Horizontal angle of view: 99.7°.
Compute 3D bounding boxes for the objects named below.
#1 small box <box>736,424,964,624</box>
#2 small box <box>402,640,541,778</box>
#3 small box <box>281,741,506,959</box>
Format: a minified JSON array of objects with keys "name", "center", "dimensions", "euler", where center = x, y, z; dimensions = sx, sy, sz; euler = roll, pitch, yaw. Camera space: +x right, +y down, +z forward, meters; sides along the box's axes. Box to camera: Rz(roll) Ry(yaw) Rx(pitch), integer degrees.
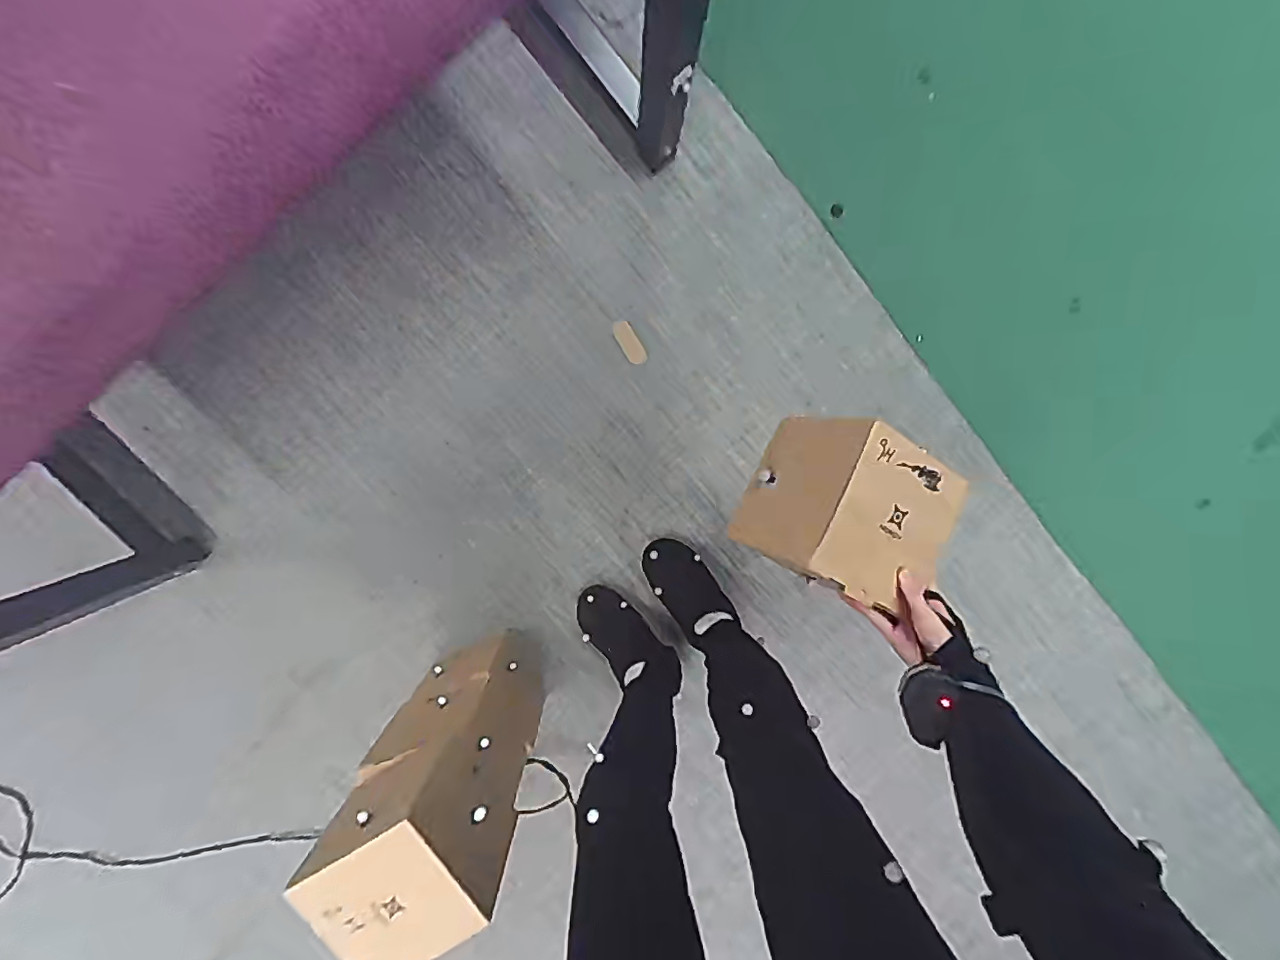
[{"name":"small box","center":[0.245,0.044,0.670],"dimensions":[0.168,0.176,0.179],"euler":[30,86,-21]},{"name":"small box","center":[-0.301,0.423,1.007],"dimensions":[0.168,0.176,0.179],"euler":[-24,100,2]},{"name":"small box","center":[-0.288,0.475,0.685],"dimensions":[0.179,0.176,0.168],"euler":[-31,97,4]}]
